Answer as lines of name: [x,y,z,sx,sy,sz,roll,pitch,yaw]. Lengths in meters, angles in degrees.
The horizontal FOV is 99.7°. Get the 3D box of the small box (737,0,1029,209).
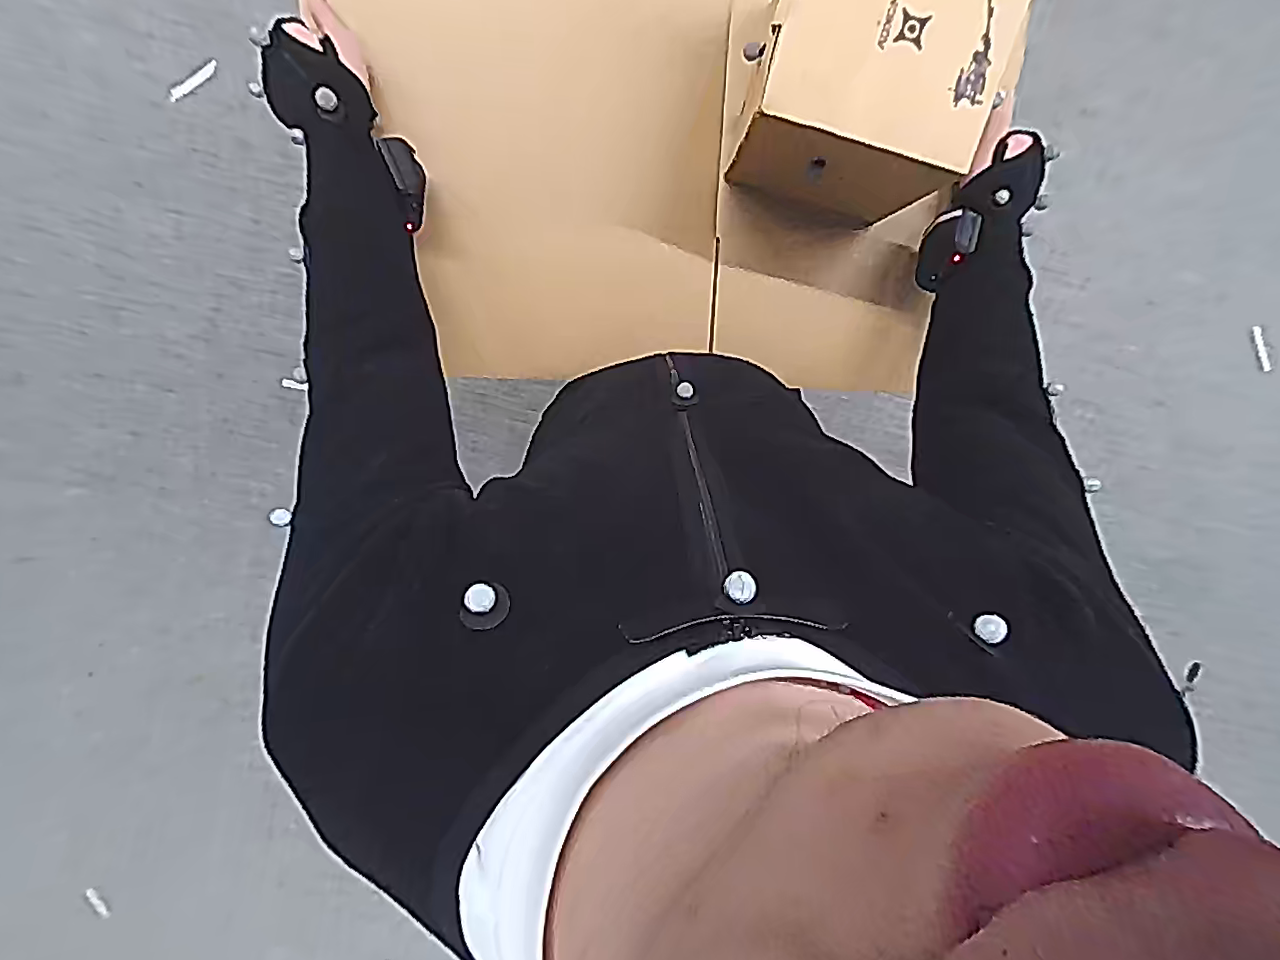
small box: [0.198,-0.365,0.483,0.179,0.176,0.168,15,104,-3]
